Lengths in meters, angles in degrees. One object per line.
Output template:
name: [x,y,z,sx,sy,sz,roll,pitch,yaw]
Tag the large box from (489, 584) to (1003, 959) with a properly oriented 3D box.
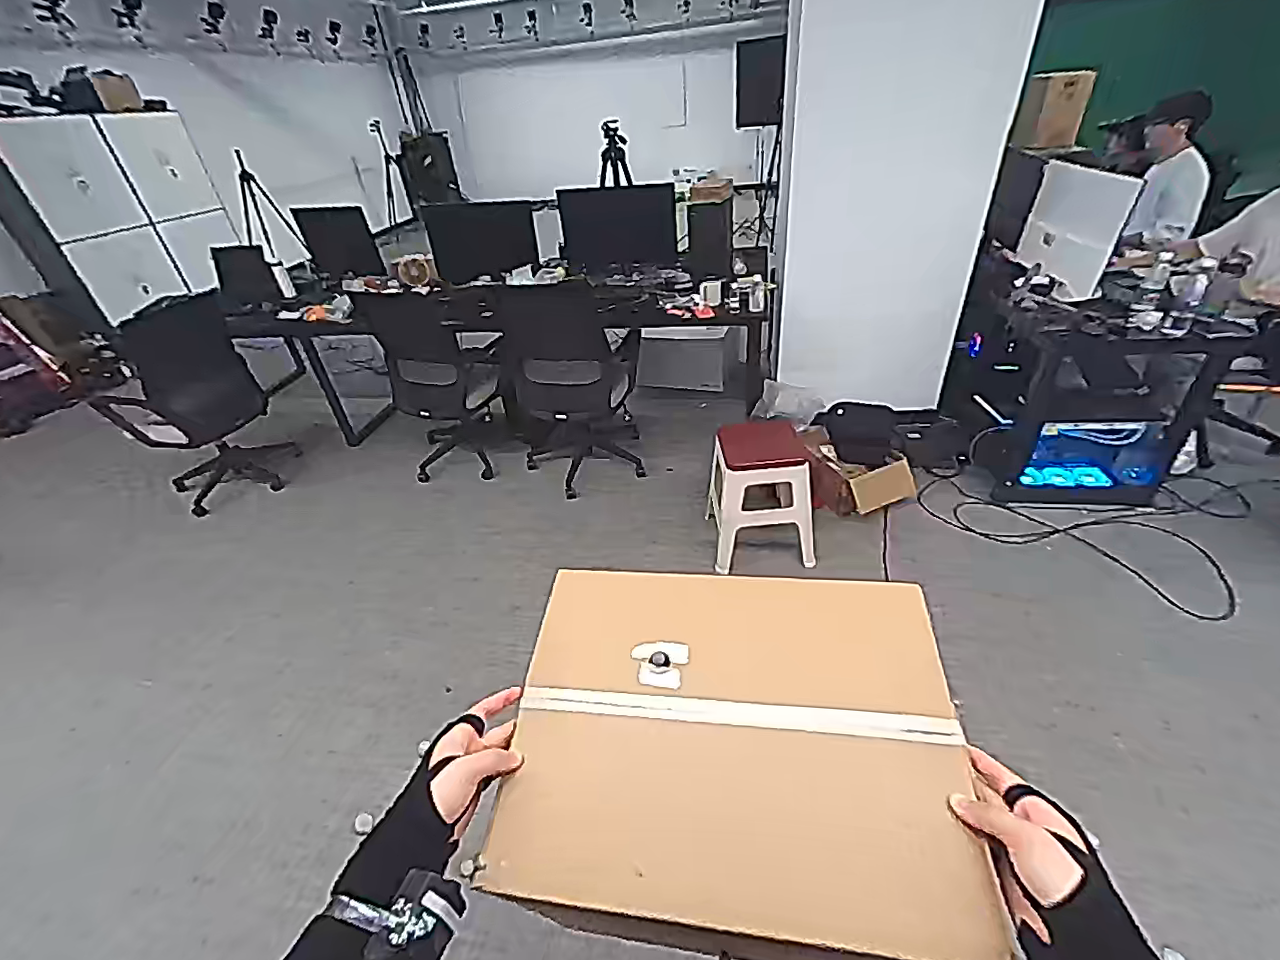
large box: [0.106,0.335,0.625,0.408,0.320,0.320,-1,45,11]
